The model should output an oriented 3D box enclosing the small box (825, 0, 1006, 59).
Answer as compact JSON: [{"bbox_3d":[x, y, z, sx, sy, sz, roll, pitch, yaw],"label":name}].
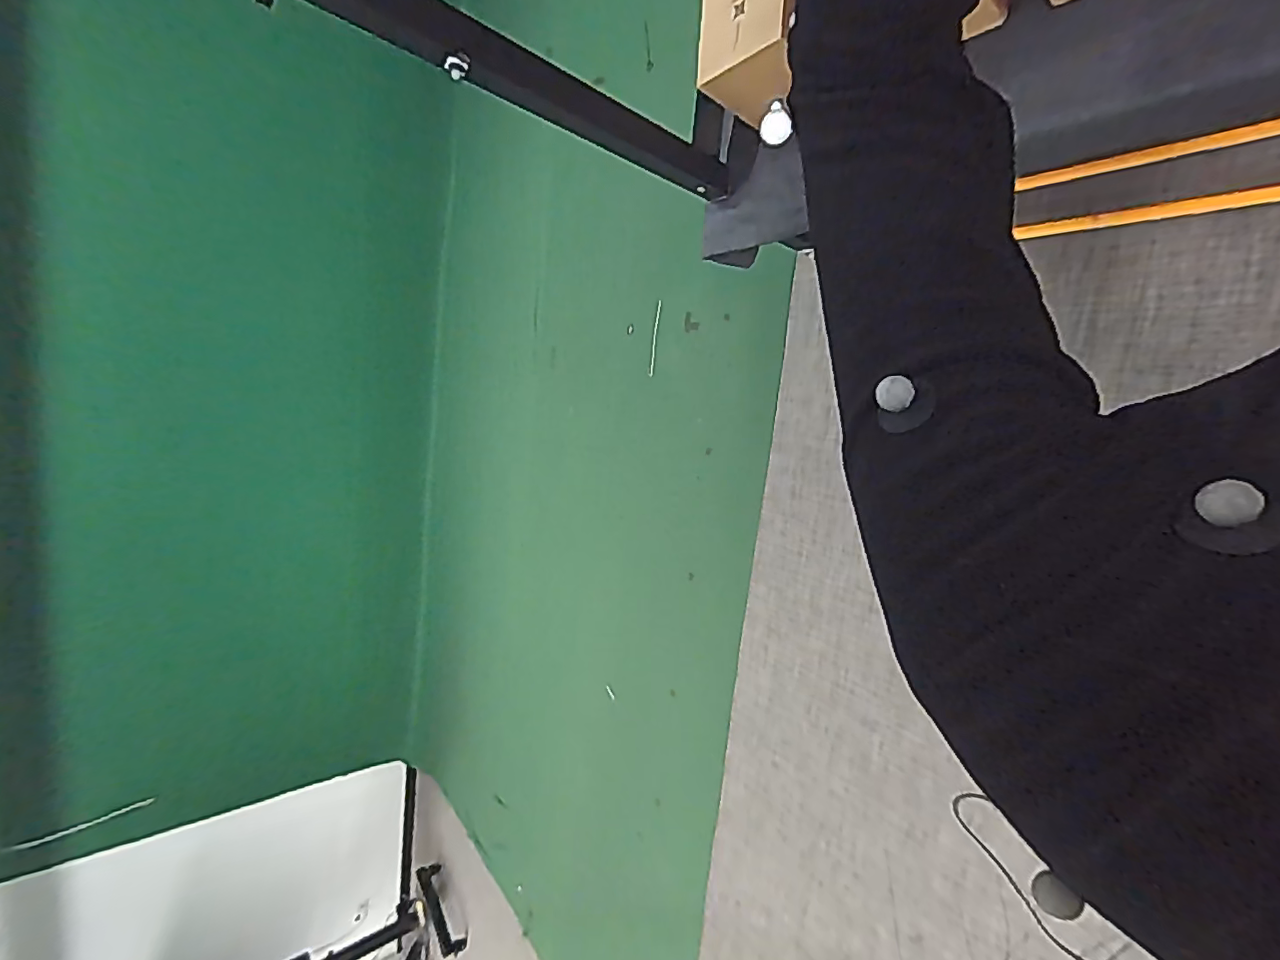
[{"bbox_3d":[0.363,-0.683,0.686,0.168,0.176,0.179,14,100,48],"label":"small box"}]

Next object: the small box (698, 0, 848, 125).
[{"bbox_3d":[0.214,-0.713,0.856,0.168,0.176,0.179,10,98,49],"label":"small box"}]
